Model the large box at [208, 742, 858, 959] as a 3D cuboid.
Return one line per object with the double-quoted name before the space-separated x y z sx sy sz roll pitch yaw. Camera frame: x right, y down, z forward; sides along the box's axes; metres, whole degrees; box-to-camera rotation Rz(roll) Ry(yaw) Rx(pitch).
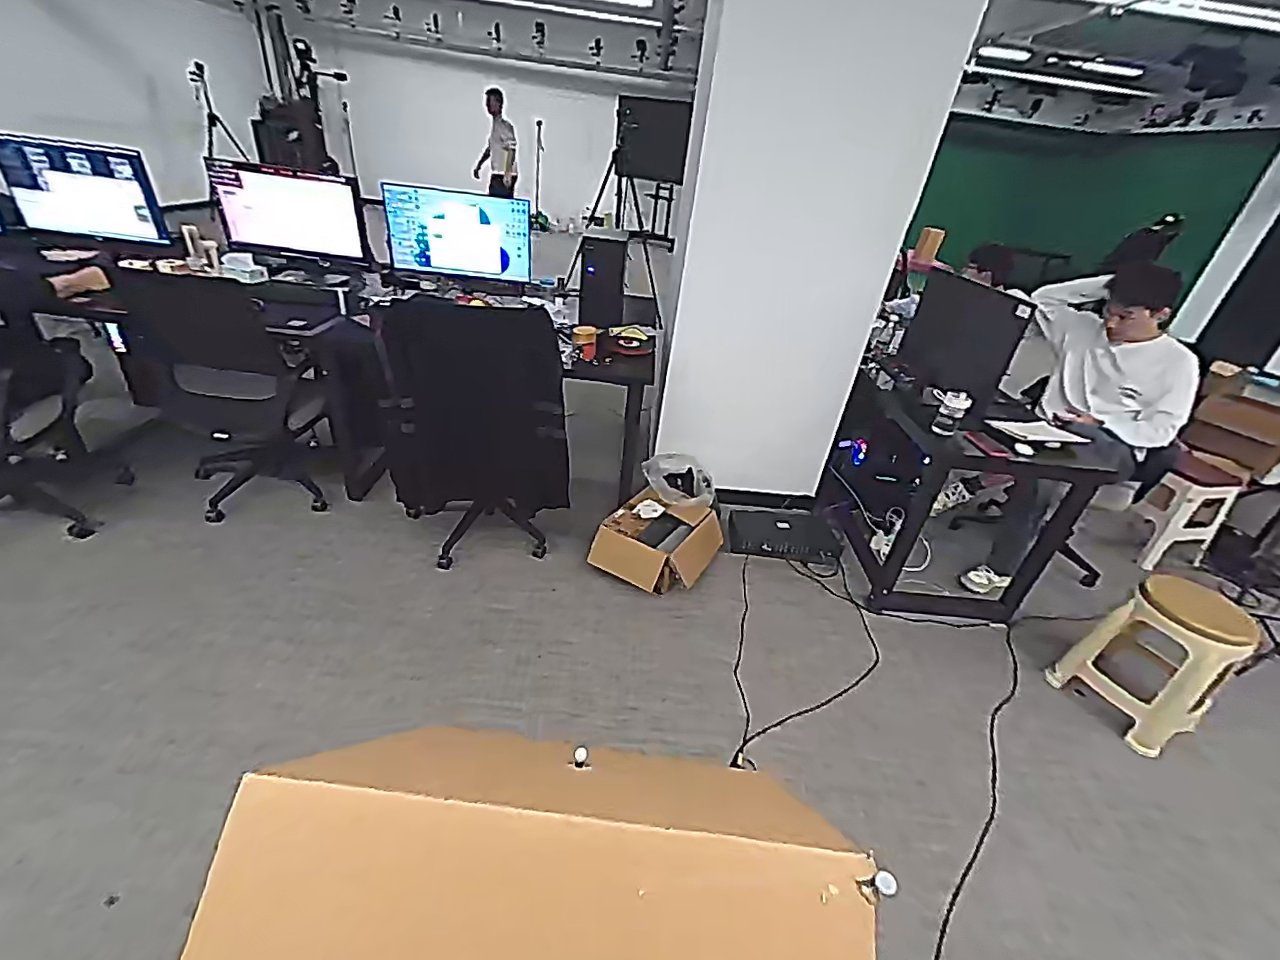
"large box" -0.075 0.415 0.444 0.408 0.320 0.320 6 72 1
